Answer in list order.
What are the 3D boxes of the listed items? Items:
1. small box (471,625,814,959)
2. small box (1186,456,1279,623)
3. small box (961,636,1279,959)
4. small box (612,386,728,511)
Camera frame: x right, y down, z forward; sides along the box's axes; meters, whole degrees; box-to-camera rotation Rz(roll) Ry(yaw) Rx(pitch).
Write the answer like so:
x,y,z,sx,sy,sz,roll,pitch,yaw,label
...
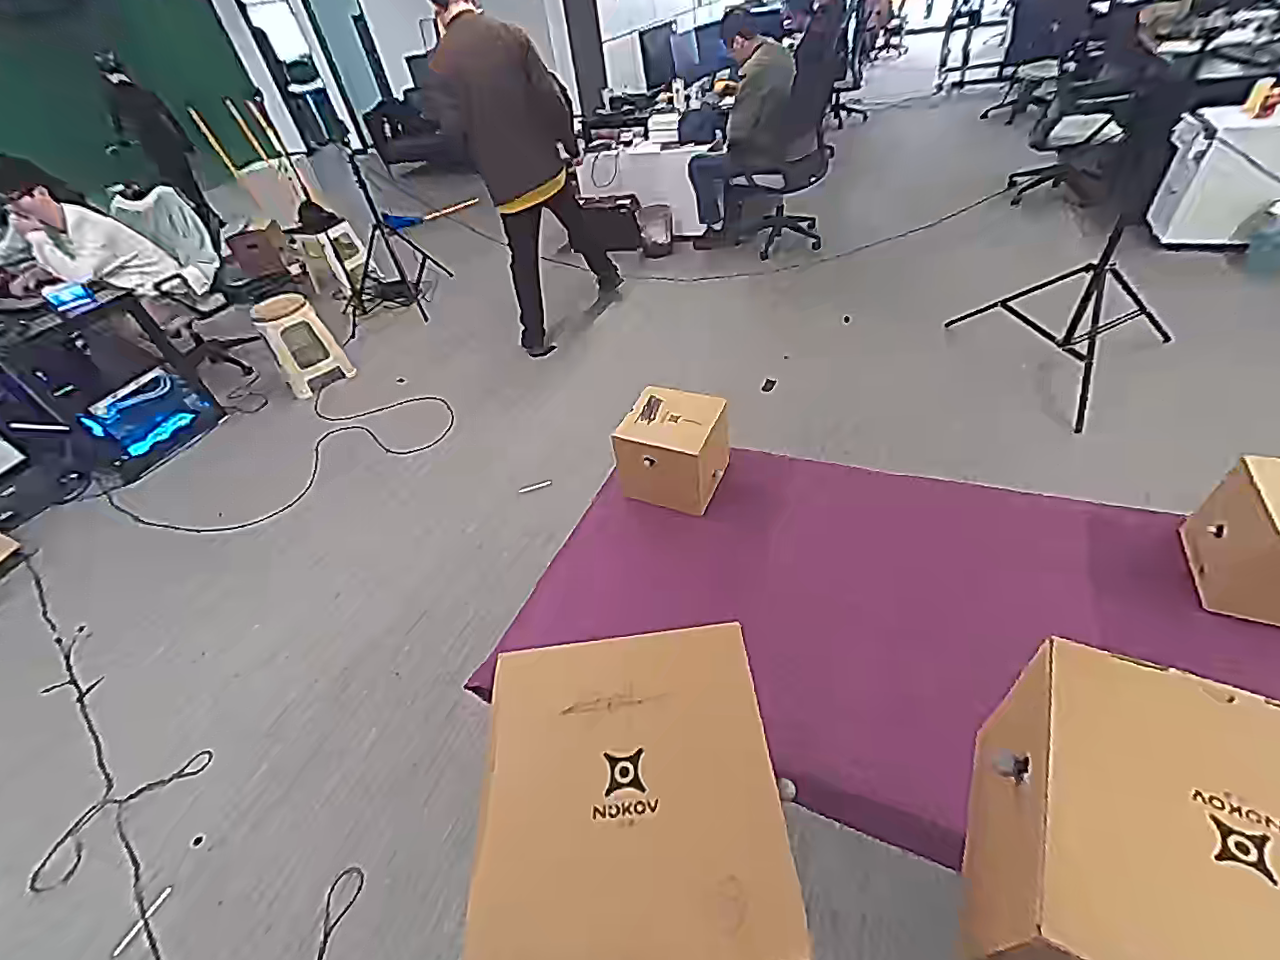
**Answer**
x,y,z,sx,sy,sz,roll,pitch,yaw,label
0.003,0.225,0.360,0.168,0.176,0.179,-8,44,1,small box
0.919,0.093,0.753,0.179,0.176,0.168,13,48,21,small box
0.311,0.235,0.327,0.168,0.176,0.179,15,49,26,small box
0.068,-0.061,1.076,0.179,0.176,0.168,14,50,22,small box
